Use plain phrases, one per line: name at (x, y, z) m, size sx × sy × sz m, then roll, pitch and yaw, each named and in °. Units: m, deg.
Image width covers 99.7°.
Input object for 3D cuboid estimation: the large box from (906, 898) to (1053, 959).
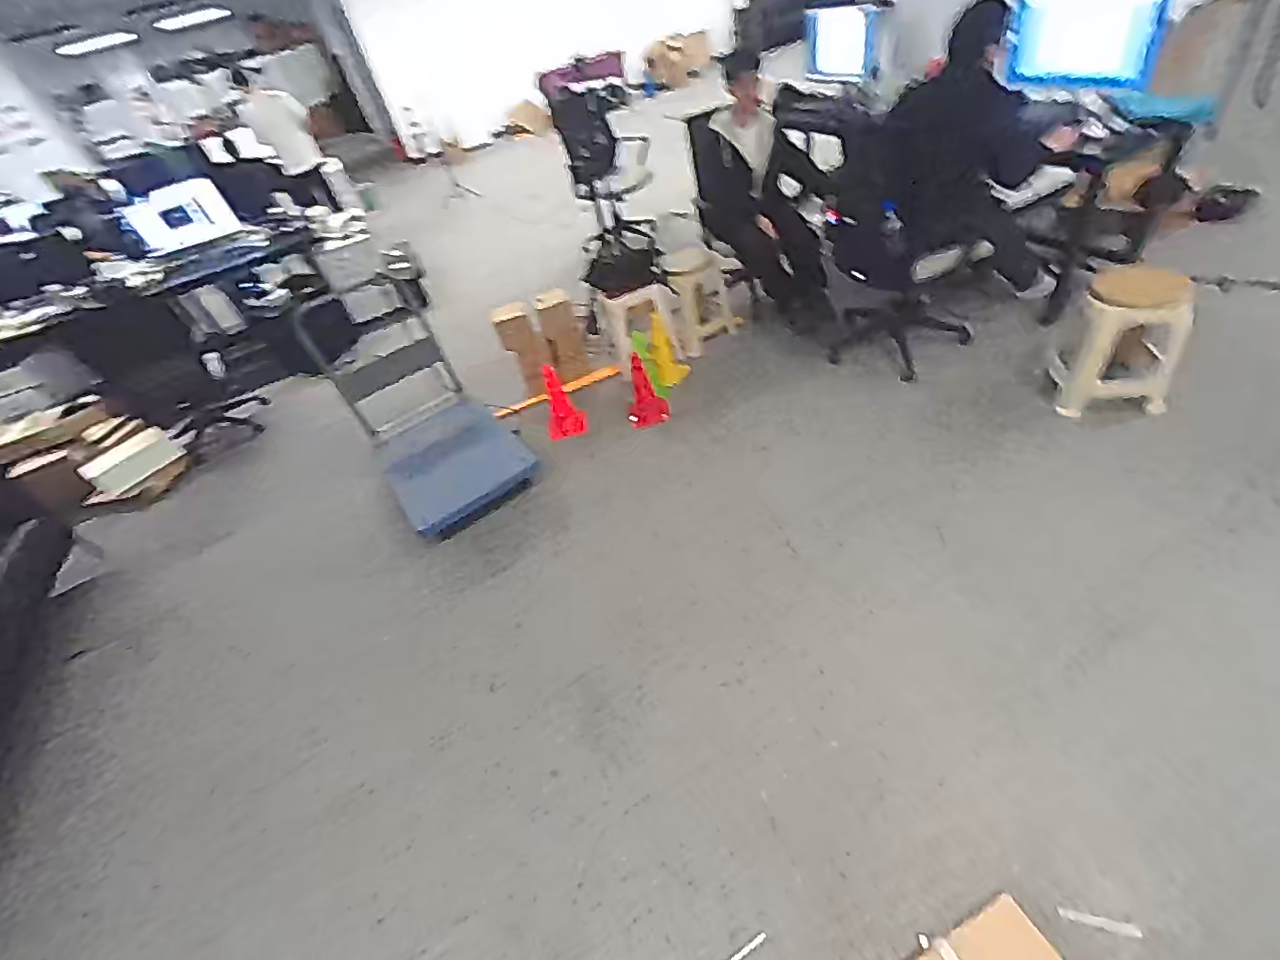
large box at (0.630, 1.034, 0.913) m, size 0.320 × 0.320 × 0.408 m, roll -26°, pitch 45°, yaw -11°
